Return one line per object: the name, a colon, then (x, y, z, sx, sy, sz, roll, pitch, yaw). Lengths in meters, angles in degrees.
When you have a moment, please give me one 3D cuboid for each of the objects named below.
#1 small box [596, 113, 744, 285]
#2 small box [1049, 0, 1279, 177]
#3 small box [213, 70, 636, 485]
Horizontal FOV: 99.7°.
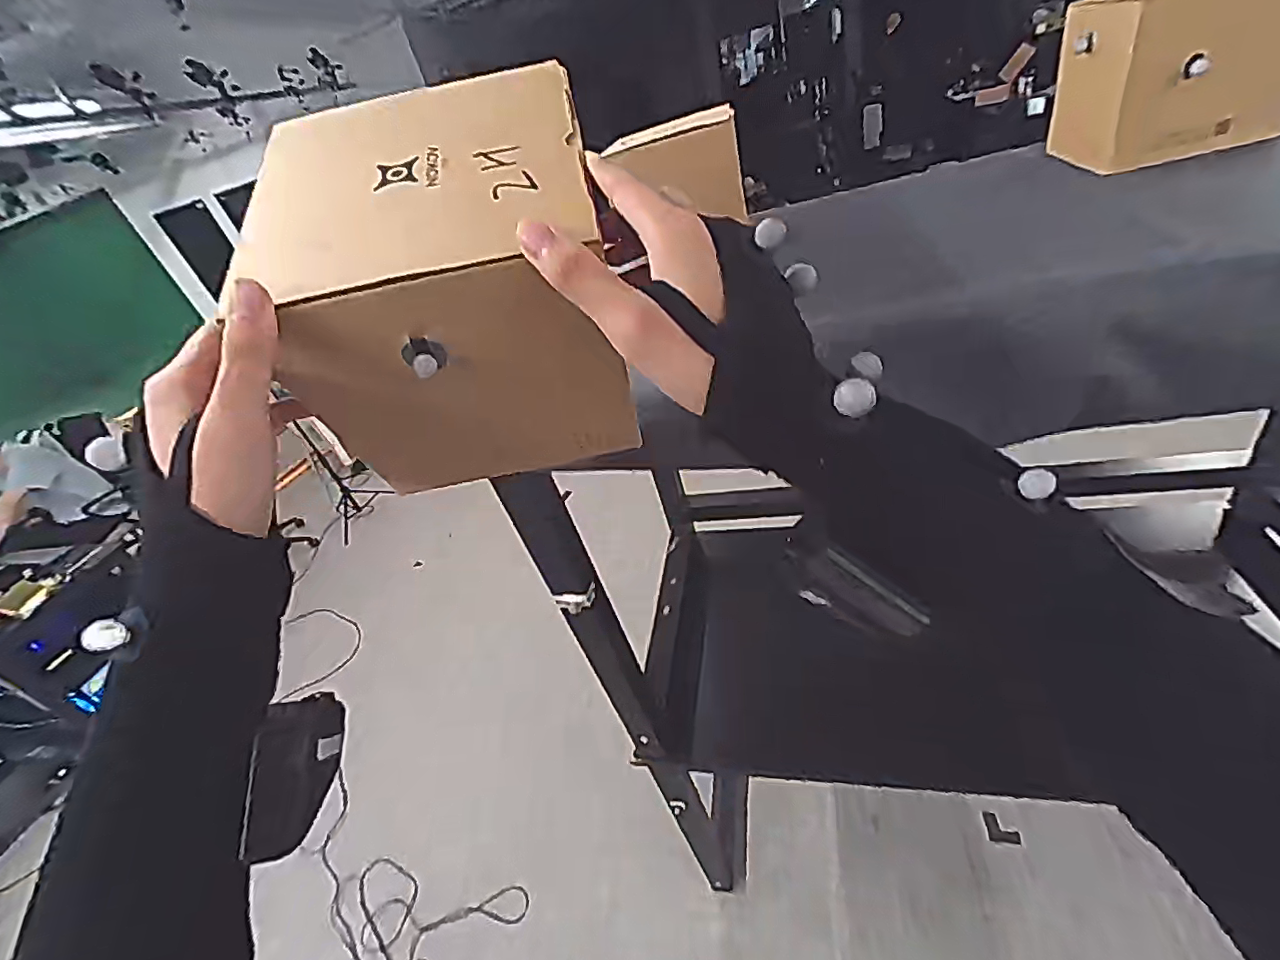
small box: (0.056, -0.405, 0.785, 0.179, 0.176, 0.168, -6, 37, 15)
small box: (0.606, -0.468, 0.620, 0.168, 0.176, 0.179, -7, 36, 17)
small box: (-0.108, -0.114, 0.345, 0.179, 0.176, 0.168, -12, 60, 0)
